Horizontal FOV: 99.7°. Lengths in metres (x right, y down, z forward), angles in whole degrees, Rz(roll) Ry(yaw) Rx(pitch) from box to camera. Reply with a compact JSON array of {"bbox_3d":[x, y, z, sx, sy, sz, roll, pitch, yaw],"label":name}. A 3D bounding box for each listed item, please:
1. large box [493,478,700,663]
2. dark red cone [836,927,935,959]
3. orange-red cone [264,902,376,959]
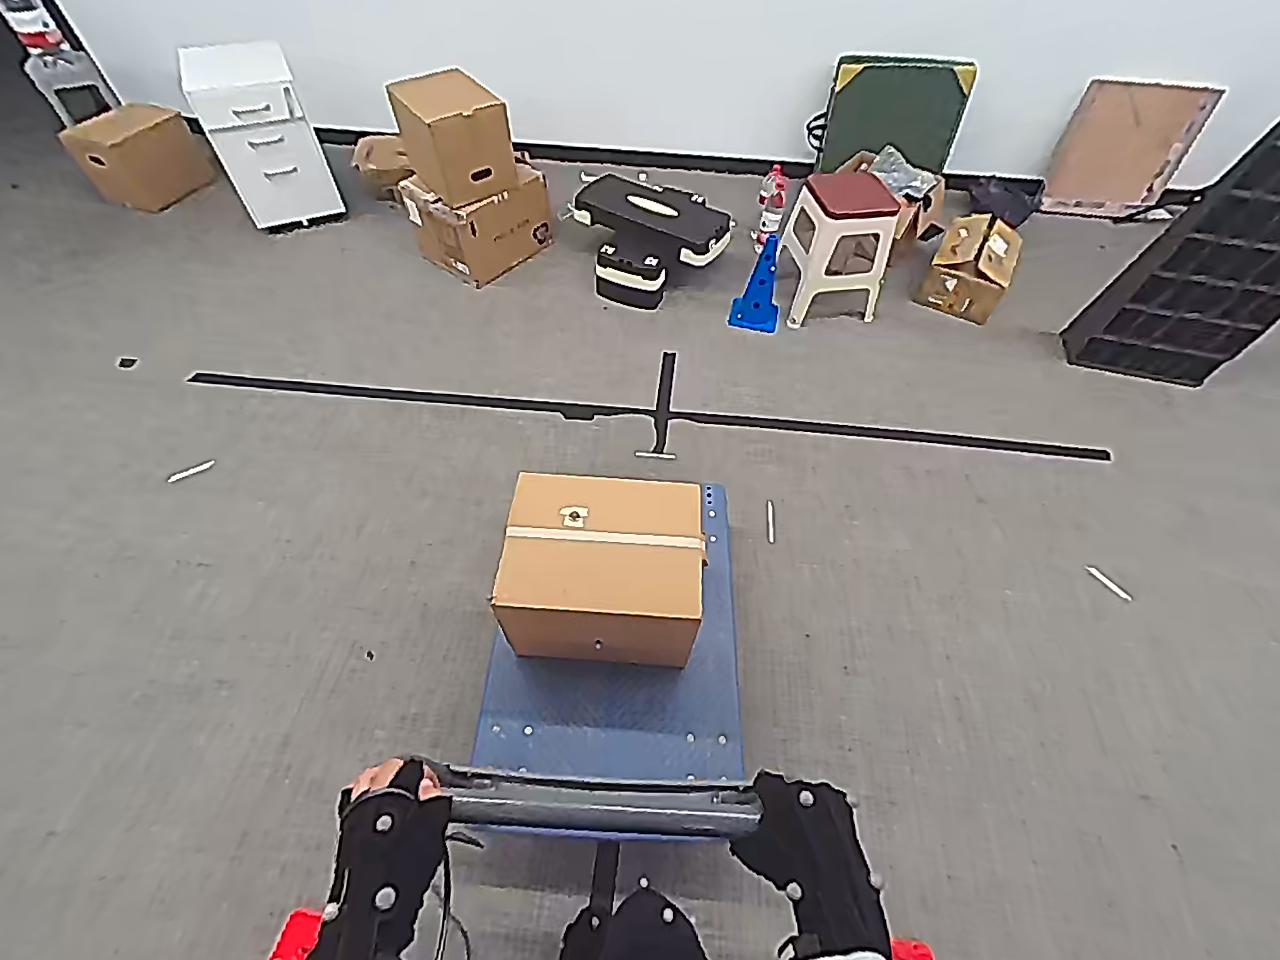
[{"bbox_3d":[-0.079,0.215,1.235,0.408,0.320,0.320,4,55,1],"label":"large box"},{"bbox_3d":[0.497,0.907,0.913,0.201,0.394,0.202,7,54,1],"label":"dark red cone"},{"bbox_3d":[-0.637,0.866,0.920,0.198,0.360,0.199,13,53,6],"label":"orange-red cone"}]
